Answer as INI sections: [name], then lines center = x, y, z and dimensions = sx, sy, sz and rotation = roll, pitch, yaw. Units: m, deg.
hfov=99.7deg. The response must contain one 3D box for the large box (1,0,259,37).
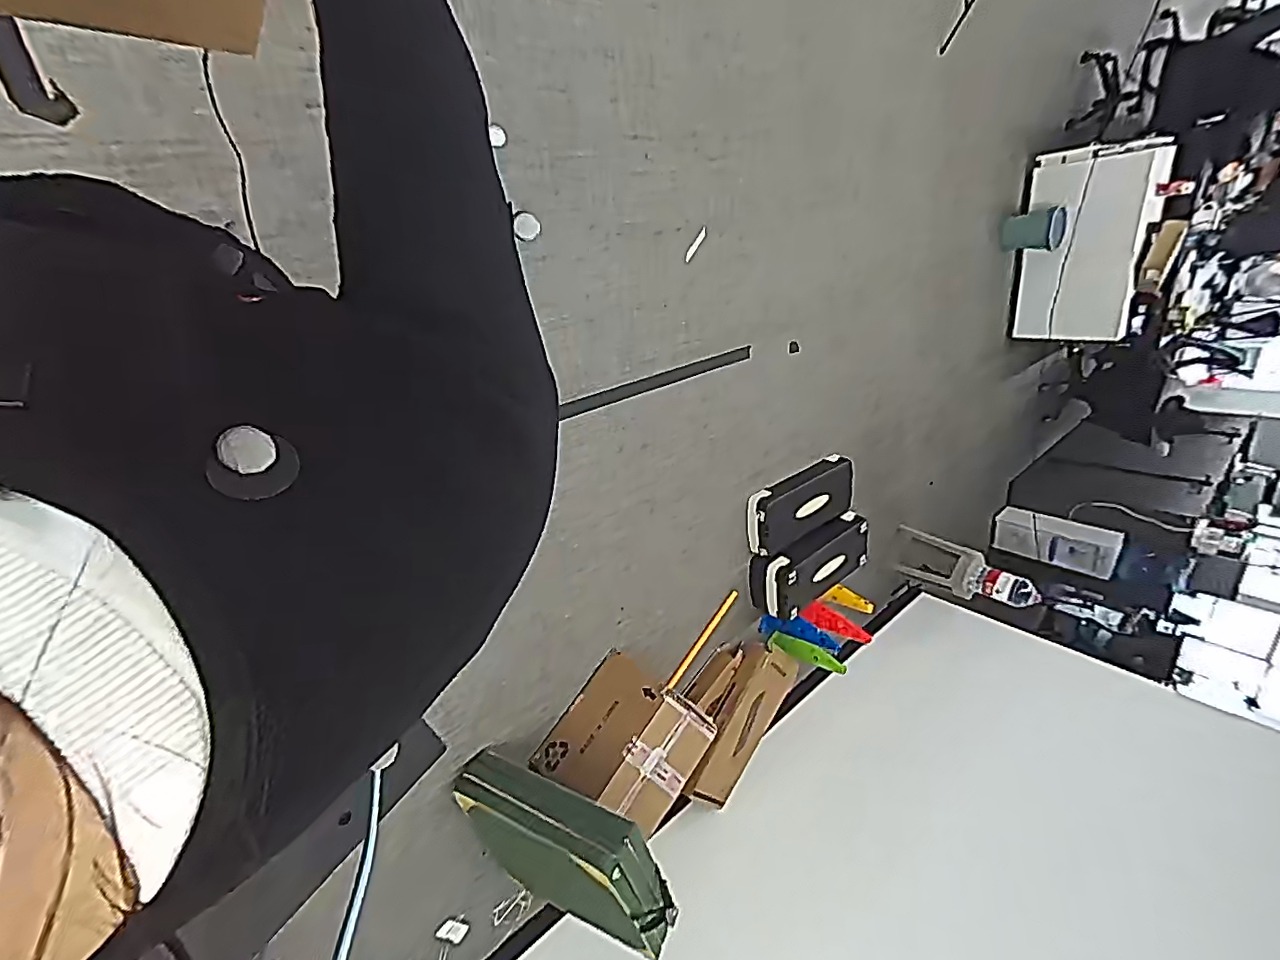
[large box]
center = -0.494, -0.530, 0.313
dimensions = 0.408, 0.320, 0.320
rotation = -19, 116, -35
